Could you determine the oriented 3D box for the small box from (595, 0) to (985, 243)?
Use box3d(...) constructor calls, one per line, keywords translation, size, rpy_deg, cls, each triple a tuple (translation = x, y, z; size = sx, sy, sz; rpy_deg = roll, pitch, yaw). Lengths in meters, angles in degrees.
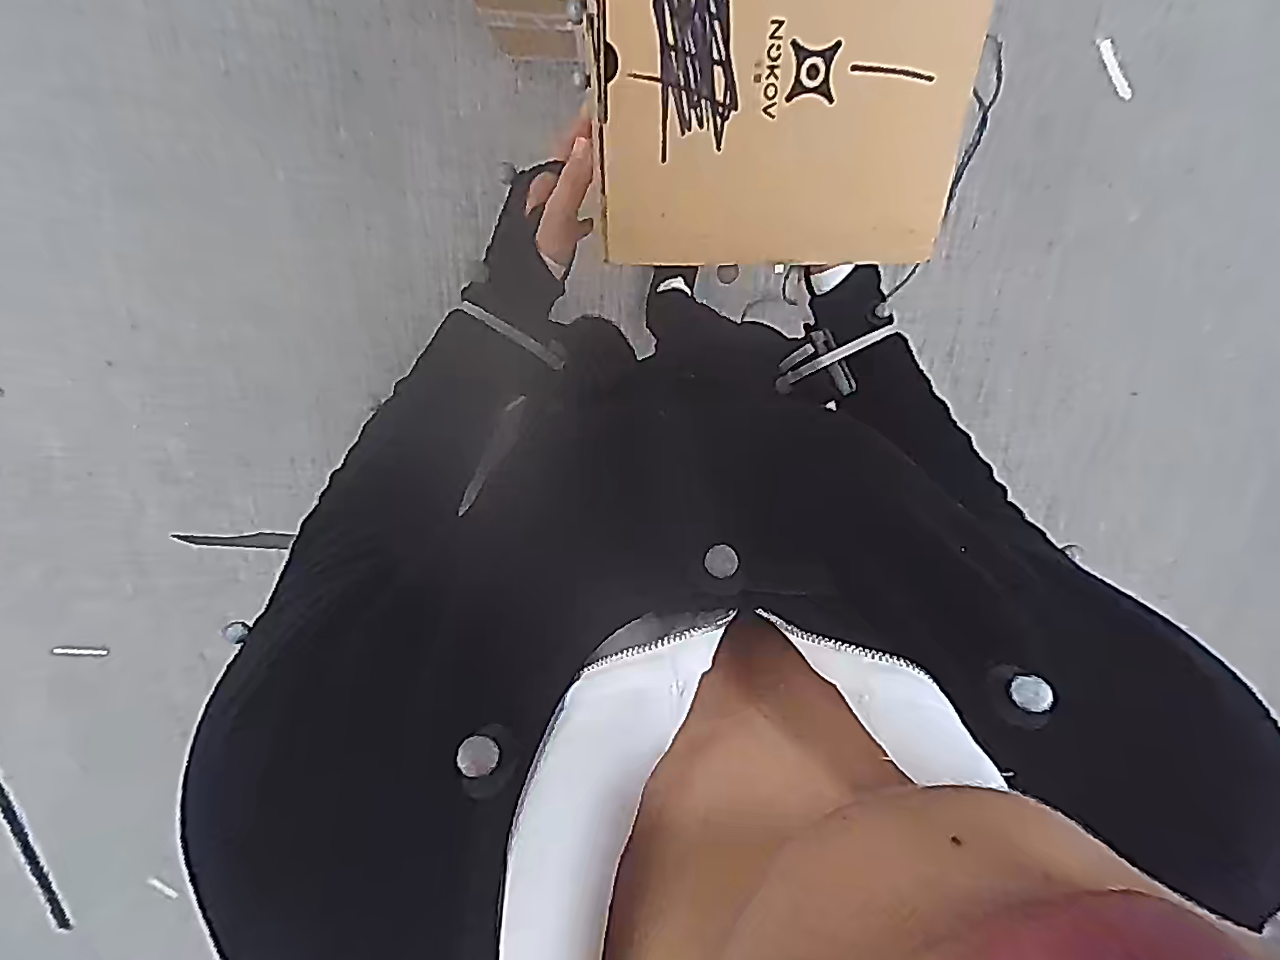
box3d(translation=(0.063, -0.233, 0.318), size=(0.179, 0.176, 0.168), rpy_deg=(-3, 117, -6), cls="small box")
